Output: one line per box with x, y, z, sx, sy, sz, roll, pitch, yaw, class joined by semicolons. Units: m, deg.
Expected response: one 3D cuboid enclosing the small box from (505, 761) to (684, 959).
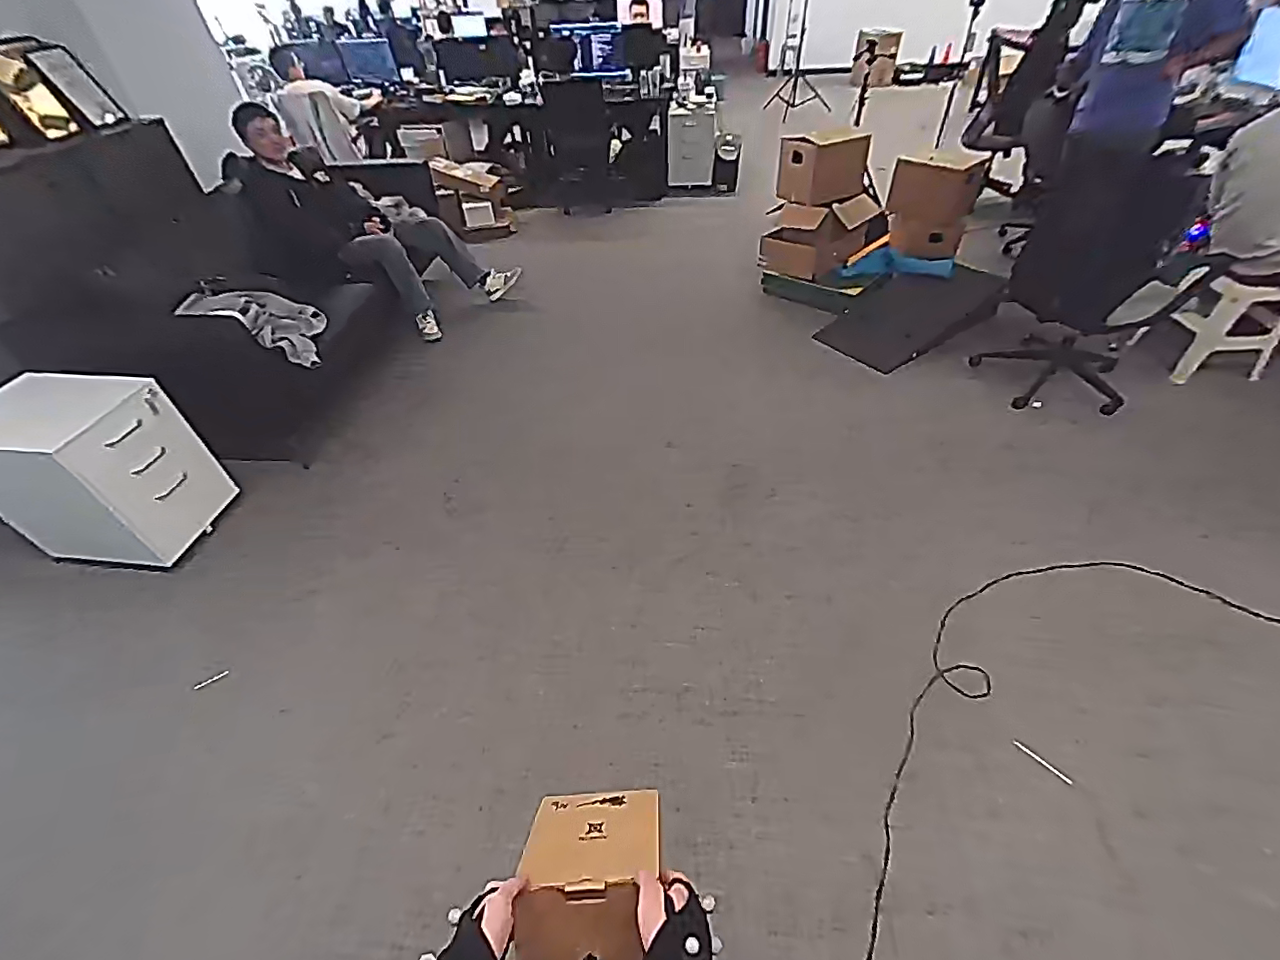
-0.061;0.503;0.698;0.179;0.176;0.168;-5;-2;-28;small box
